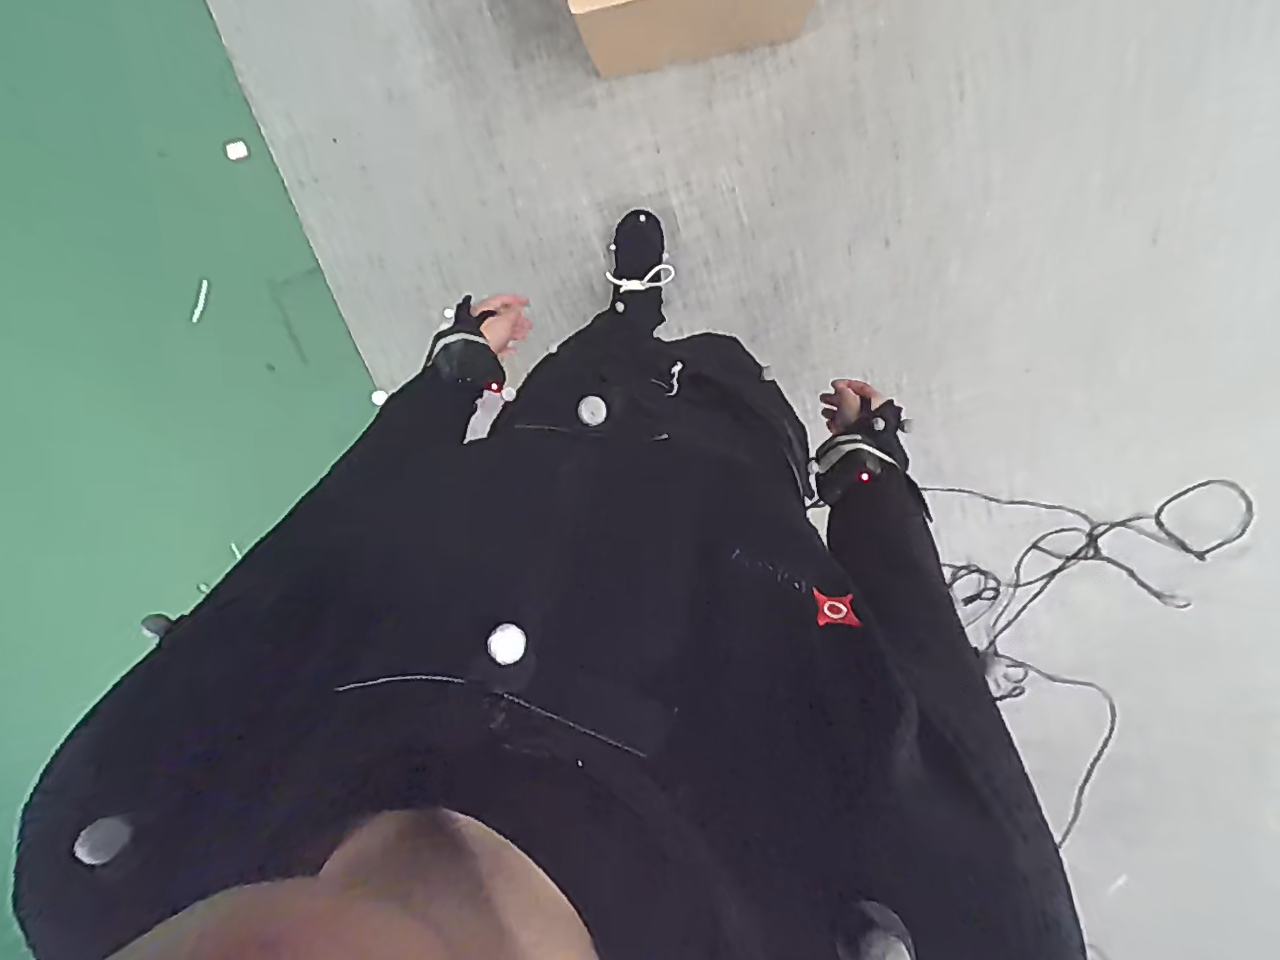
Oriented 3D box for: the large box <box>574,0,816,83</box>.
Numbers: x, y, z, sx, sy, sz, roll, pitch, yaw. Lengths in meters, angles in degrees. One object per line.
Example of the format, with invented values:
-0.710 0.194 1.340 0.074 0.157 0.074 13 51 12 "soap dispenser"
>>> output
0.078 -0.917 0.879 0.408 0.320 0.320 -8 111 7 "large box"
